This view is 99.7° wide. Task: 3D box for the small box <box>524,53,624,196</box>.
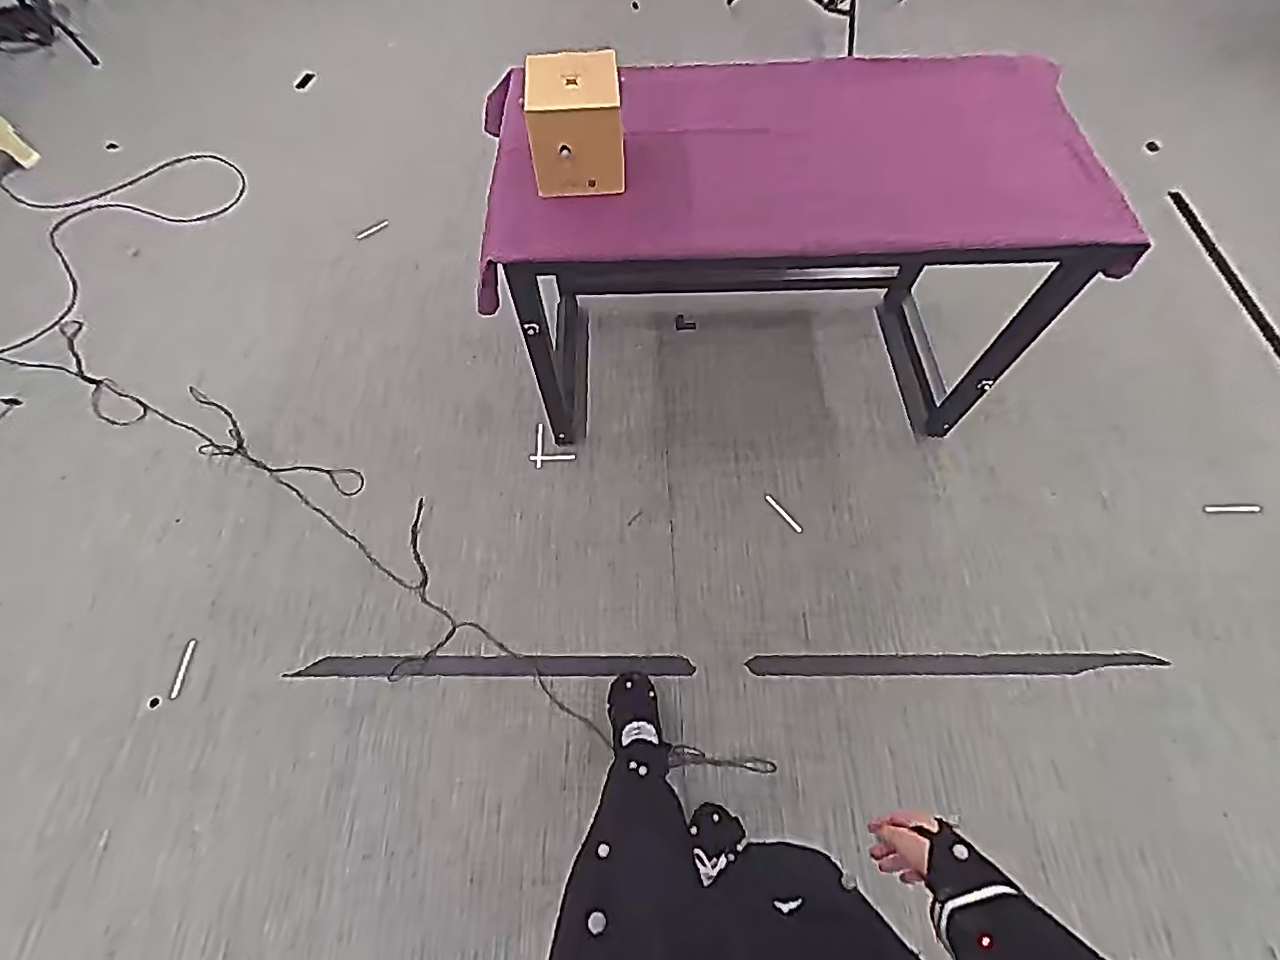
[{"bbox_3d":[-0.119,-0.664,1.024,0.168,0.176,0.179,-4,63,-1],"label":"small box"}]
